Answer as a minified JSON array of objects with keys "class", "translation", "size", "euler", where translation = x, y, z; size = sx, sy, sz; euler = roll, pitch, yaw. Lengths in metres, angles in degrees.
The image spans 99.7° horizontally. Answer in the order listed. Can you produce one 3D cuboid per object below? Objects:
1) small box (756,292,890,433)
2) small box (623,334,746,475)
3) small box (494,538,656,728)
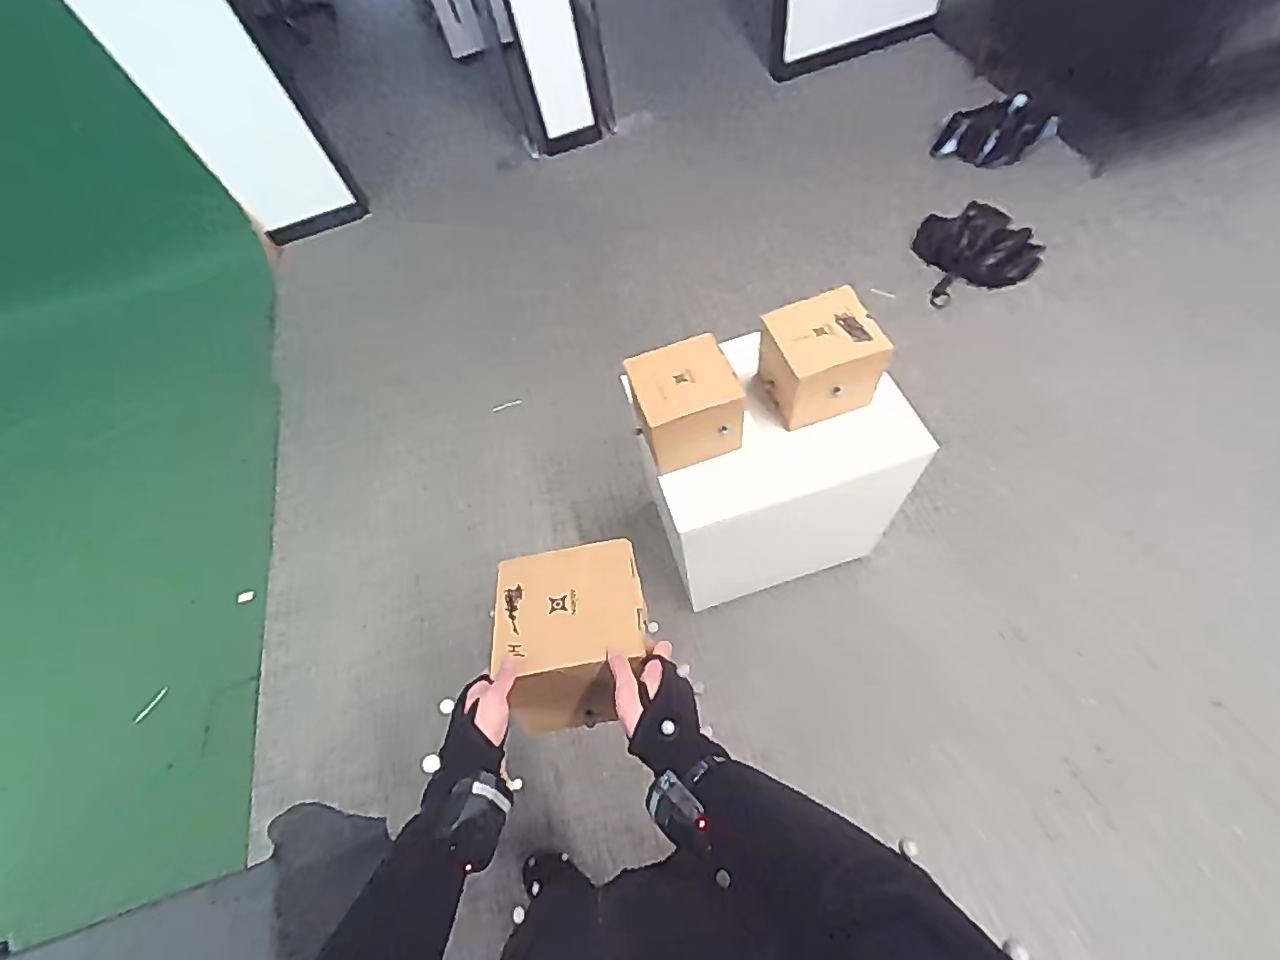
[{"class":"small box","translation":[0.334,-0.217,1.026],"size":[0.179,0.176,0.168],"euler":[-18,60,-2]},{"class":"small box","translation":[0.082,-0.136,1.014],"size":[0.179,0.176,0.168],"euler":[-19,59,-4]},{"class":"small box","translation":[-0.073,0.198,0.693],"size":[0.179,0.176,0.168],"euler":[-7,45,-1]}]
